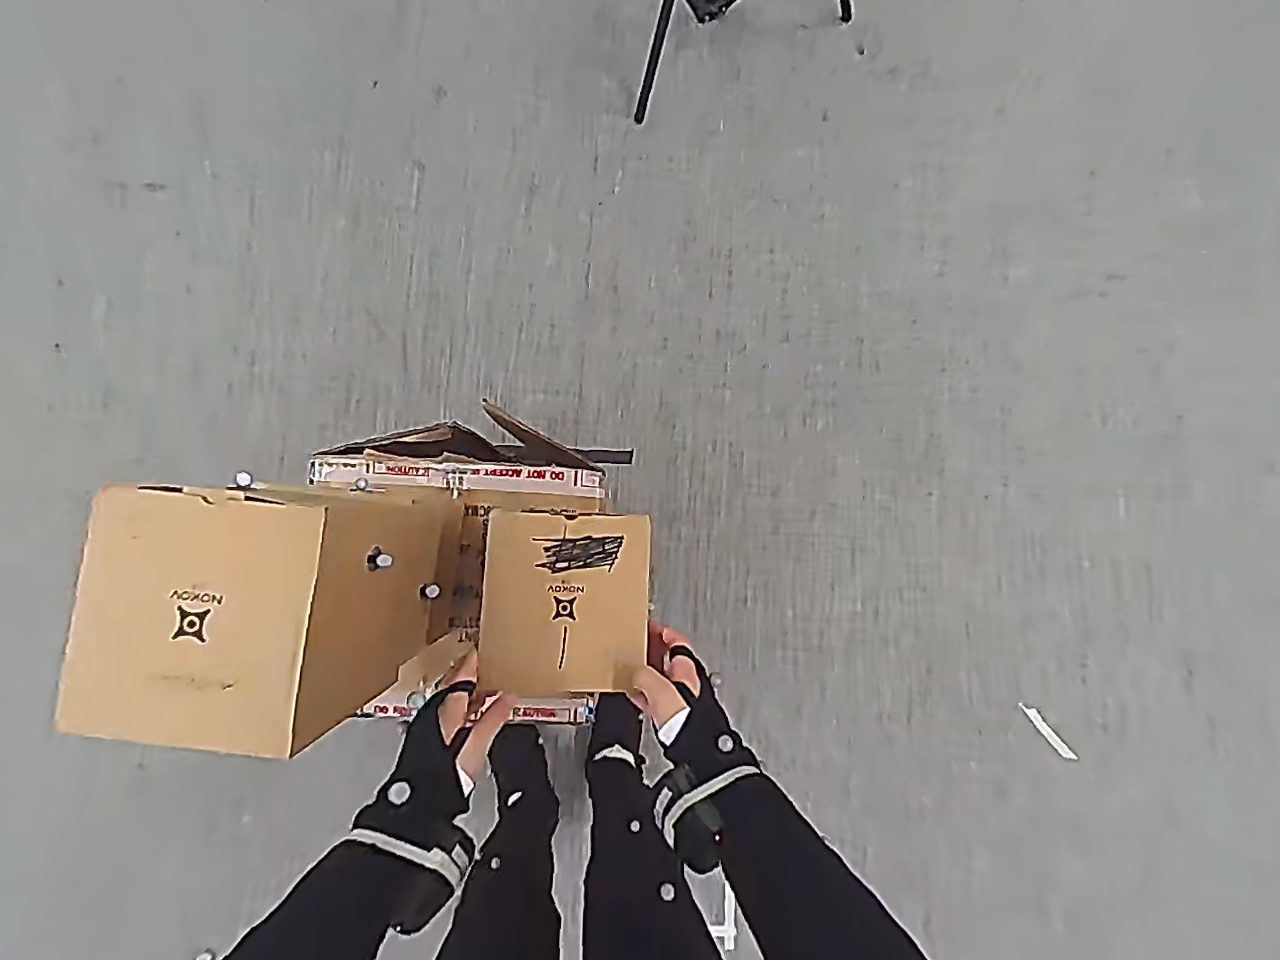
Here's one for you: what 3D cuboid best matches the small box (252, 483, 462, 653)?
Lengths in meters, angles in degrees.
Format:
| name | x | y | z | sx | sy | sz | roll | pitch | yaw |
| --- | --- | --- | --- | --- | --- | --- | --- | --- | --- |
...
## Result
| name | x | y | z | sx | sy | sz | roll | pitch | yaw |
| --- | --- | --- | --- | --- | --- | --- | --- | --- | --- |
| small box | -0.316 | 0.101 | 0.616 | 0.168 | 0.176 | 0.179 | 6 | 87 | 0 |

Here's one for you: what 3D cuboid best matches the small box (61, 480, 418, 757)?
| name | x | y | z | sx | sy | sz | roll | pitch | yaw |
| --- | --- | --- | --- | --- | --- | --- | --- | --- | --- |
| small box | -0.304 | 0.099 | 0.453 | 0.168 | 0.176 | 0.179 | 6 | 87 | 1 |

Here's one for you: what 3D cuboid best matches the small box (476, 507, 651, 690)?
| name | x | y | z | sx | sy | sz | roll | pitch | yaw |
| --- | --- | --- | --- | --- | --- | --- | --- | --- | --- |
| small box | -0.079 | 0.131 | 0.614 | 0.168 | 0.176 | 0.179 | 2 | 79 | -4 |
